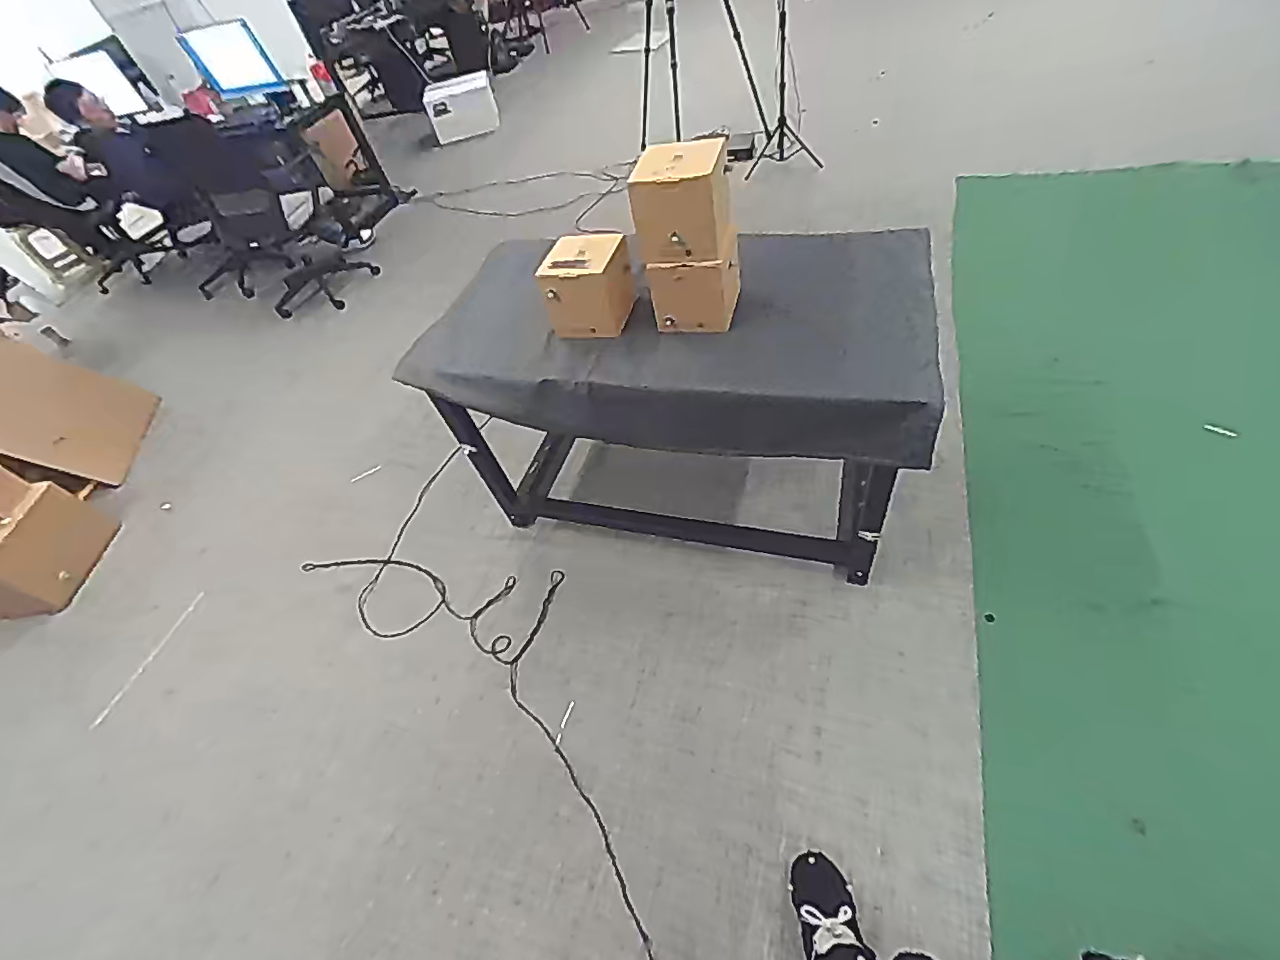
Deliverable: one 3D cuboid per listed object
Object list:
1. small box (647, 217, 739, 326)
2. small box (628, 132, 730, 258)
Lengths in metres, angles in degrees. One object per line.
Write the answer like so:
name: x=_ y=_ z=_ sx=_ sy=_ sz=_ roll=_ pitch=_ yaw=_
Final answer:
small box: x=0.129 y=-0.466 z=1.221 sx=0.168 sy=0.176 sz=0.179 roll=6 pitch=53 yaw=19
small box: x=0.089 y=-0.580 z=1.109 sx=0.168 sy=0.176 sz=0.179 roll=4 pitch=54 yaw=18
